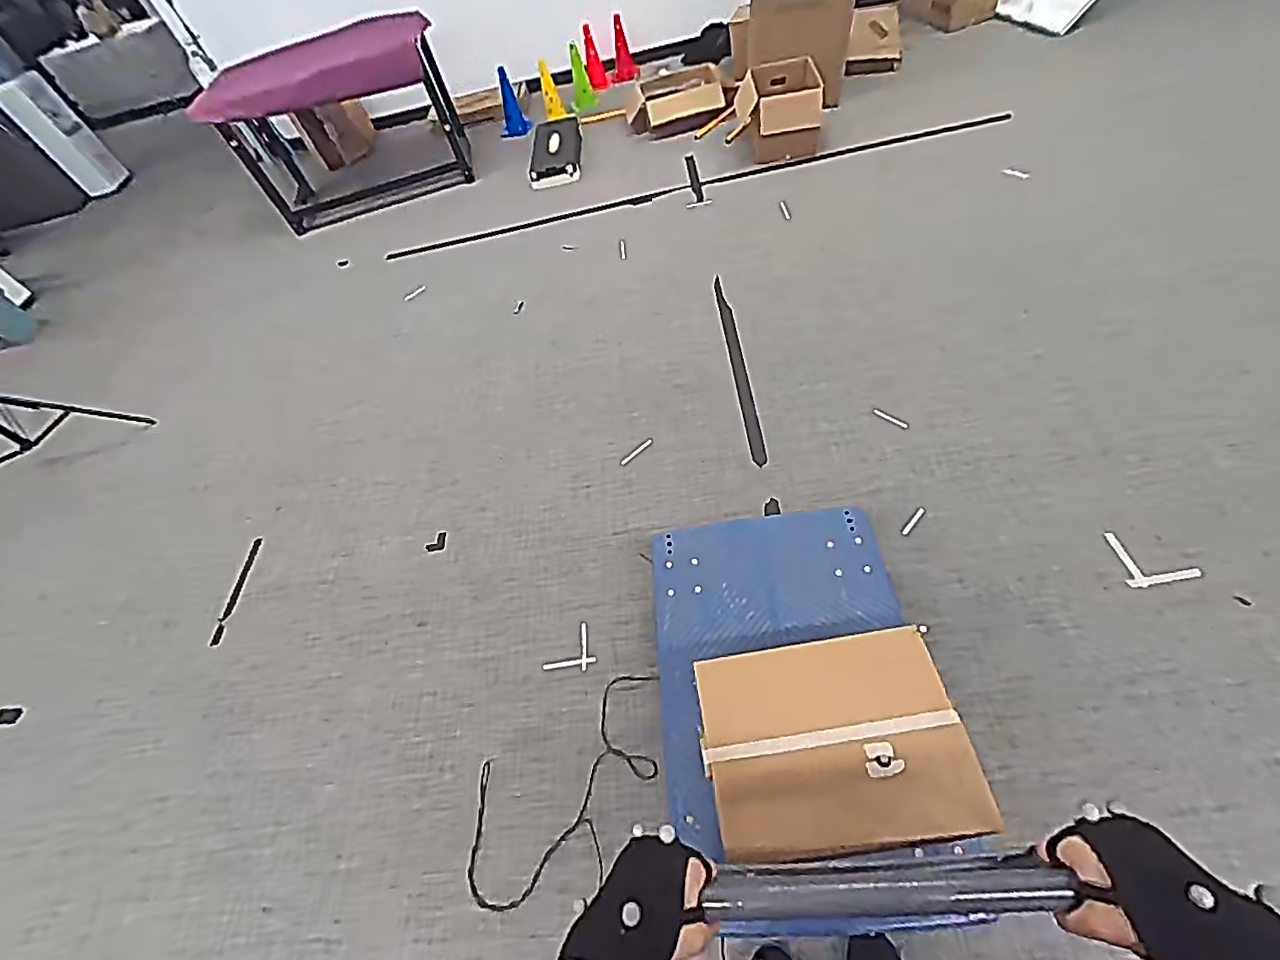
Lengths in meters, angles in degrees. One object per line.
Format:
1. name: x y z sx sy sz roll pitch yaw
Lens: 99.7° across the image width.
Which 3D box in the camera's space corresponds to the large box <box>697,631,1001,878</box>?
1. large box: 0.337 0.516 1.000 0.408 0.320 0.320 -11 53 4
